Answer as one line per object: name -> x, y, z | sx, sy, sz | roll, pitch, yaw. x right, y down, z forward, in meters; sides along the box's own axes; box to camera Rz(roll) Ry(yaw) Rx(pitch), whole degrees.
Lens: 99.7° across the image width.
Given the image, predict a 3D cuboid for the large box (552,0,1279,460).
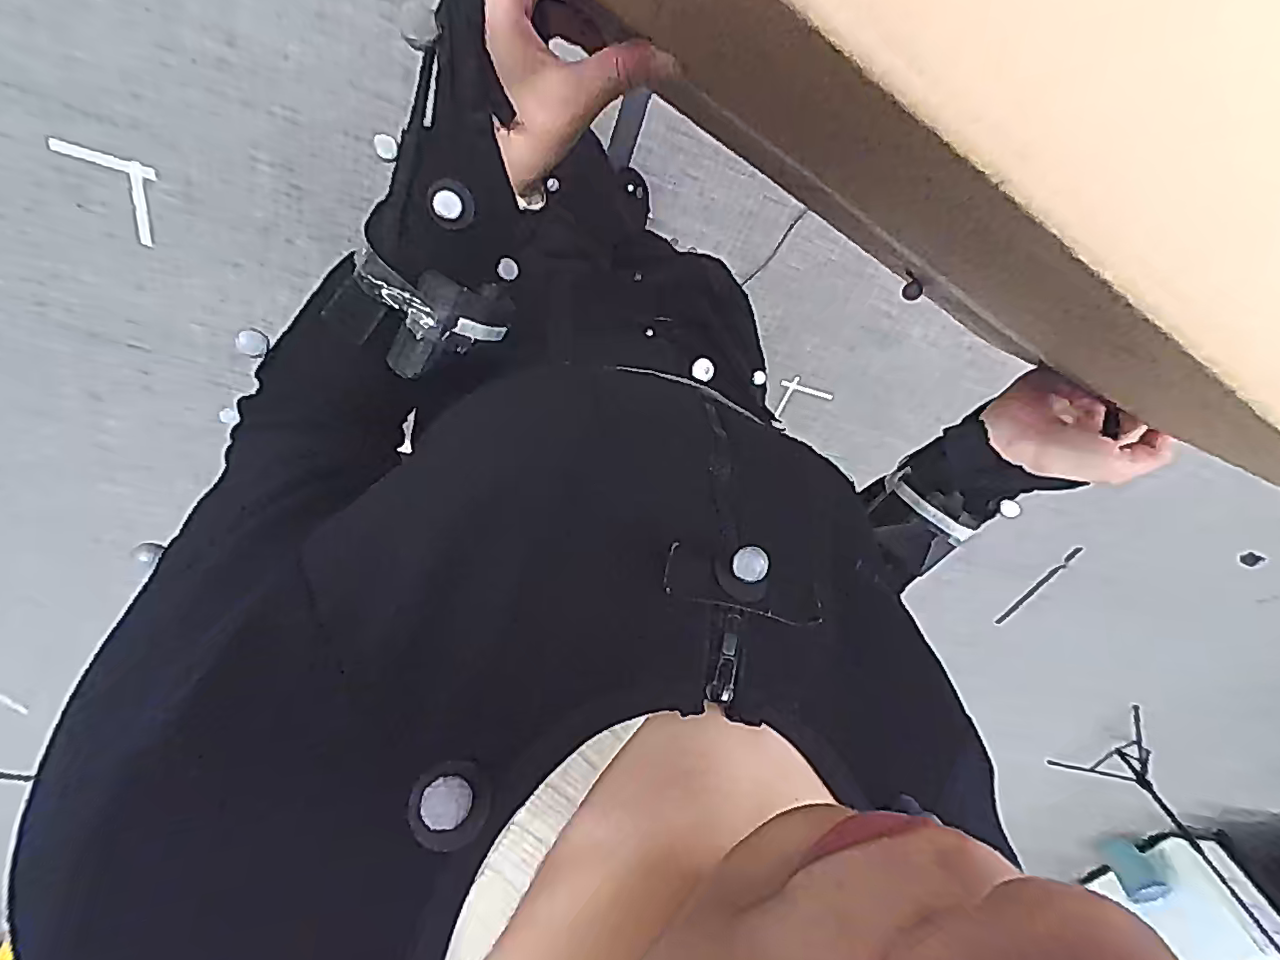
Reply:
large box -> 0.200, -0.260, 0.219 | 0.408, 0.320, 0.320 | 25, 118, -16
